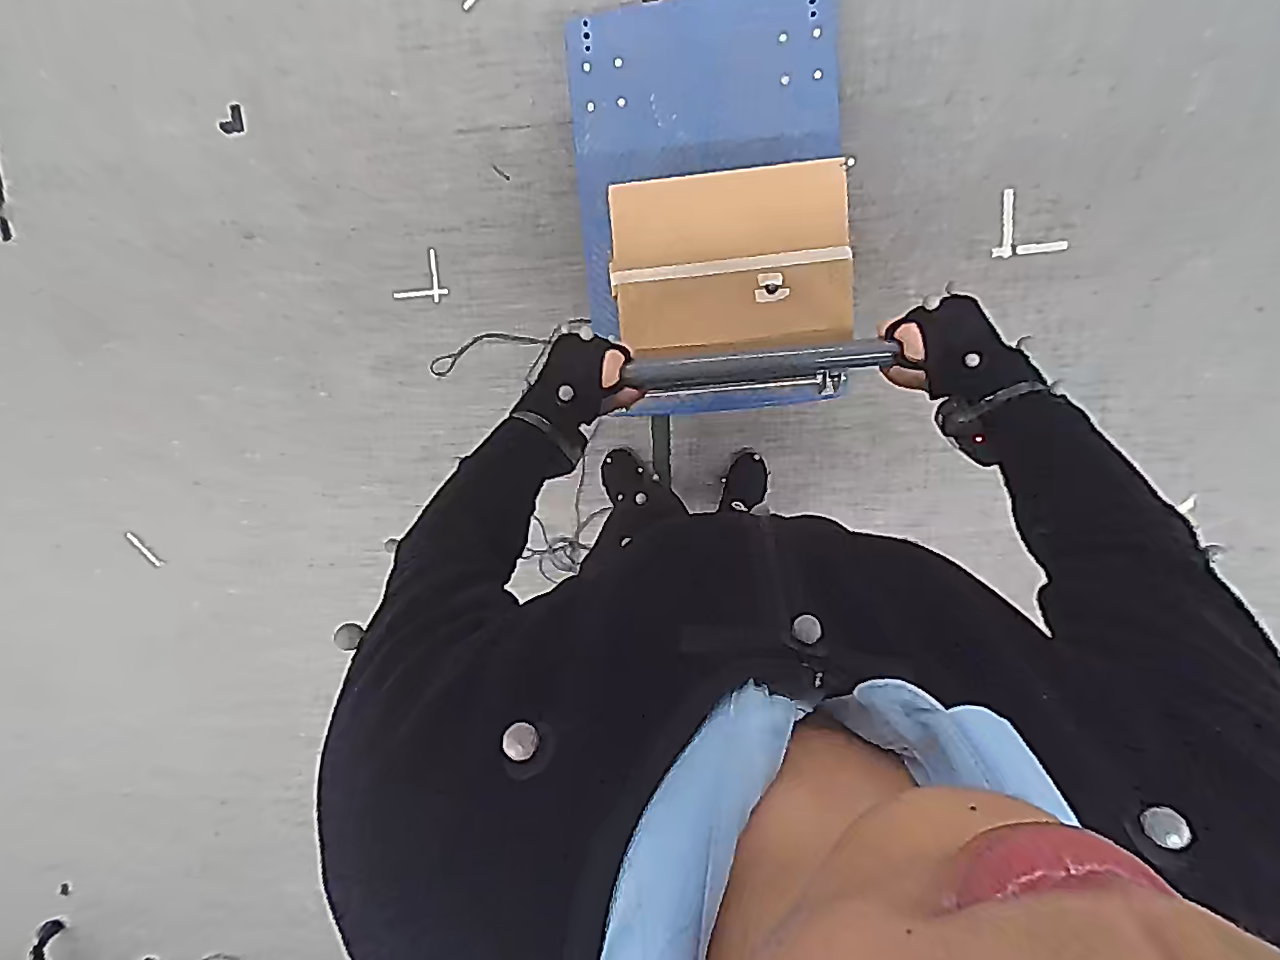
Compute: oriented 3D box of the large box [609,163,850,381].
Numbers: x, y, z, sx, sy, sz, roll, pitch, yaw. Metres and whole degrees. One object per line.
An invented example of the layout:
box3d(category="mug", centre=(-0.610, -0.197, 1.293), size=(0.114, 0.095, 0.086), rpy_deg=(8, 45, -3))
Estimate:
box3d(category="large box", centre=(0.164, -0.381, 1.085), size=(0.408, 0.320, 0.320), rpy_deg=(-4, 97, 4))
